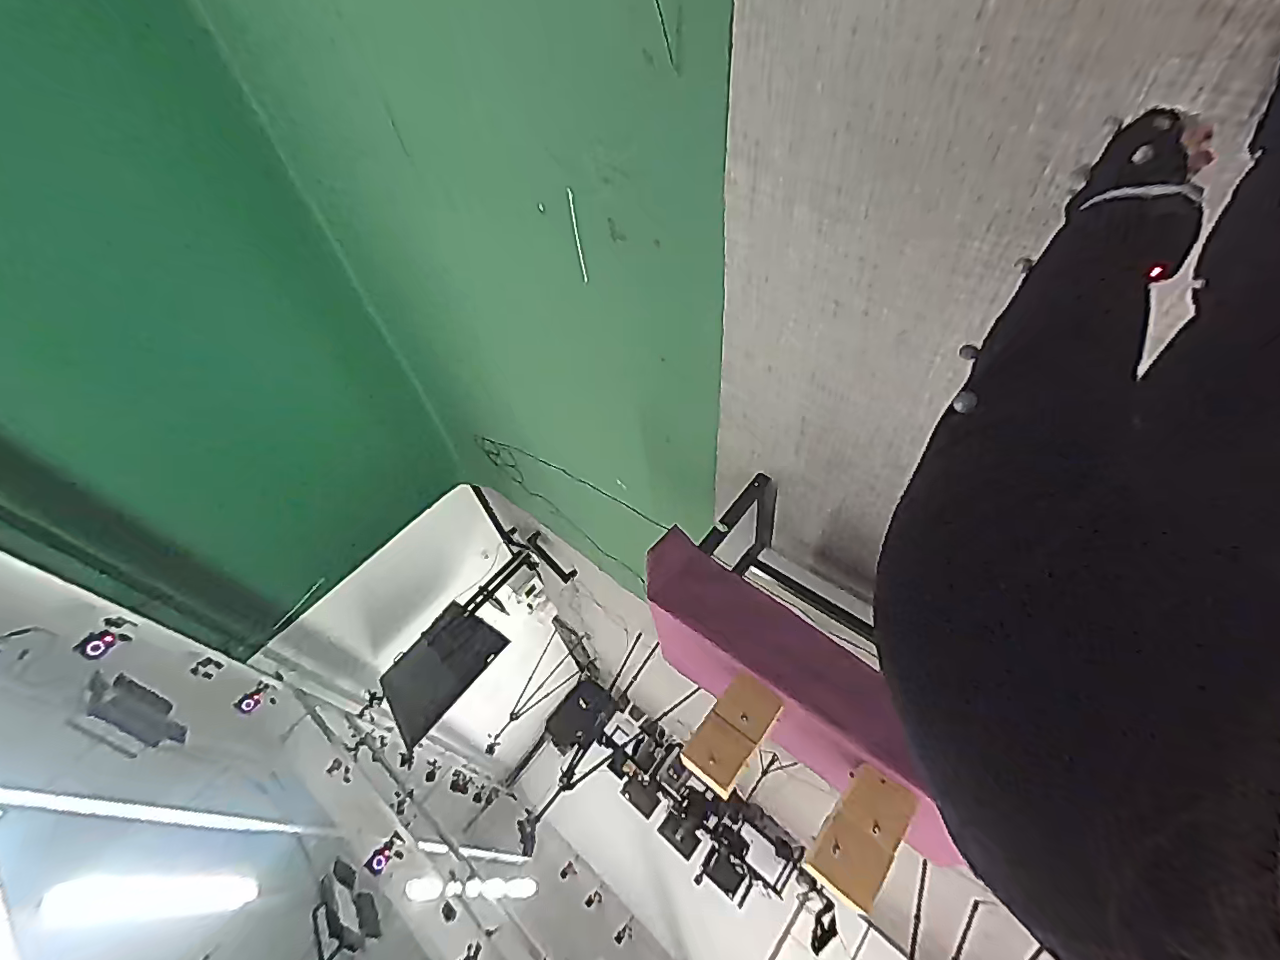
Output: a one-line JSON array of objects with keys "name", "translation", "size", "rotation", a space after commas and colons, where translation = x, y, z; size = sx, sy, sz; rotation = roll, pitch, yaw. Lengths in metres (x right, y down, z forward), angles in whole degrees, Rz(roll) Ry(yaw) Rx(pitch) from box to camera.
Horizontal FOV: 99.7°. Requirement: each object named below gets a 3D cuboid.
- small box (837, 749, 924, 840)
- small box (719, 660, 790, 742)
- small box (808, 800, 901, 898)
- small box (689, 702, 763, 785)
[{"name": "small box", "translation": [0.717, 0.940, 1.617], "size": [0.168, 0.176, 0.179], "rotation": [31, 155, 26]}, {"name": "small box", "translation": [0.385, 0.739, 1.815], "size": [0.179, 0.176, 0.168], "rotation": [32, 154, 28]}, {"name": "small box", "translation": [0.613, 1.049, 1.554], "size": [0.179, 0.176, 0.168], "rotation": [32, 155, 25]}, {"name": "small box", "translation": [0.279, 0.846, 1.753], "size": [0.179, 0.176, 0.168], "rotation": [30, 153, 27]}]
